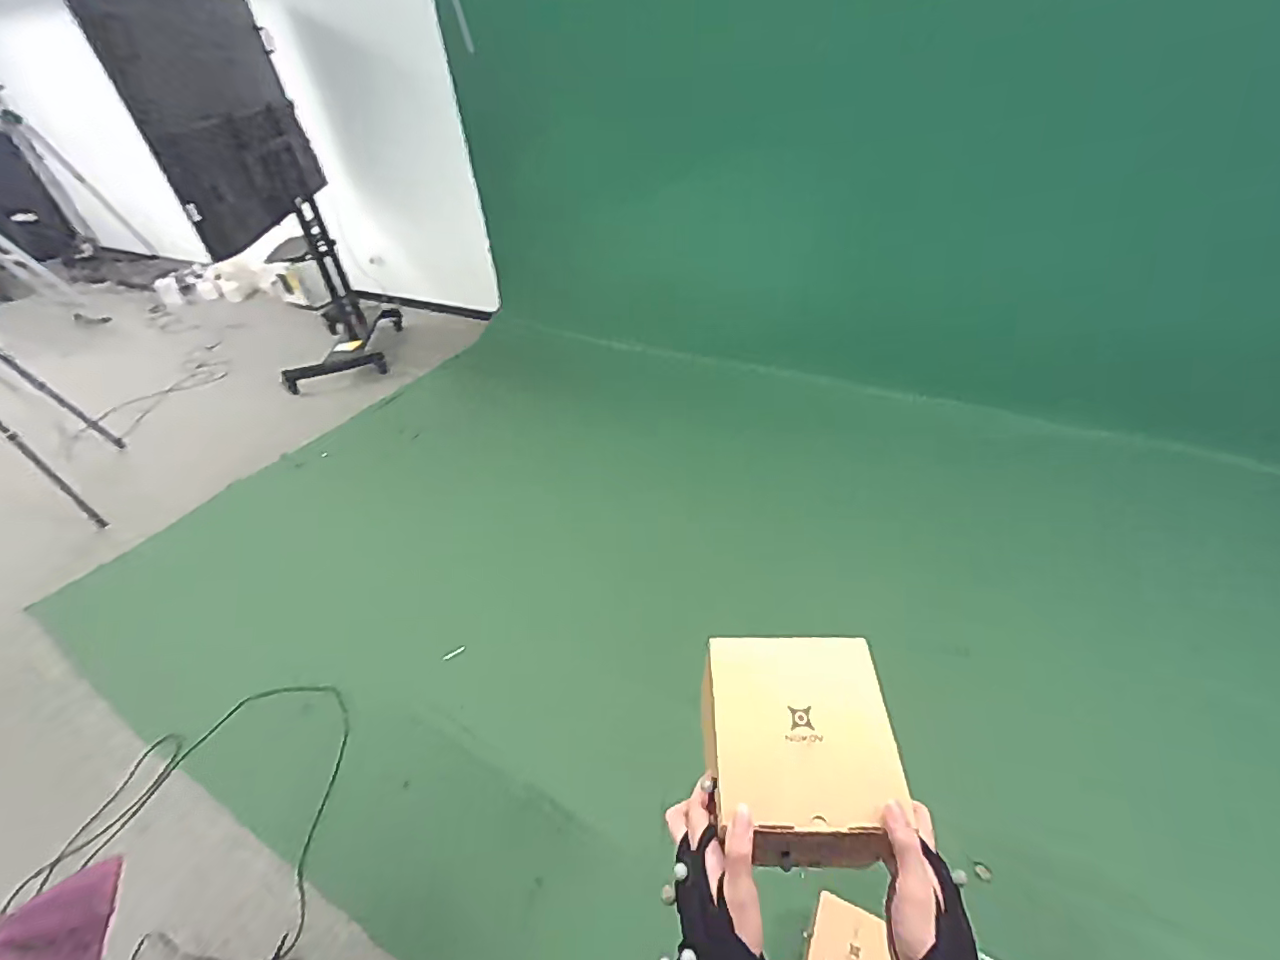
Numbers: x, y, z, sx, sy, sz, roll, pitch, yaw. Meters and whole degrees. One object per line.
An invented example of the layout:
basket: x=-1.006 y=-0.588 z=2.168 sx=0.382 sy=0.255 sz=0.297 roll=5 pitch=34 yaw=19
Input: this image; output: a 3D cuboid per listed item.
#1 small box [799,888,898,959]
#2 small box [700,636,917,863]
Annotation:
small box: x=0.441 y=1.041 z=1.167 sx=0.168 sy=0.176 sz=0.179 roll=16 pitch=43 yaw=23
small box: x=0.154 y=0.282 z=0.568 sx=0.168 sy=0.176 sz=0.179 roll=-1 pitch=48 yaw=2
